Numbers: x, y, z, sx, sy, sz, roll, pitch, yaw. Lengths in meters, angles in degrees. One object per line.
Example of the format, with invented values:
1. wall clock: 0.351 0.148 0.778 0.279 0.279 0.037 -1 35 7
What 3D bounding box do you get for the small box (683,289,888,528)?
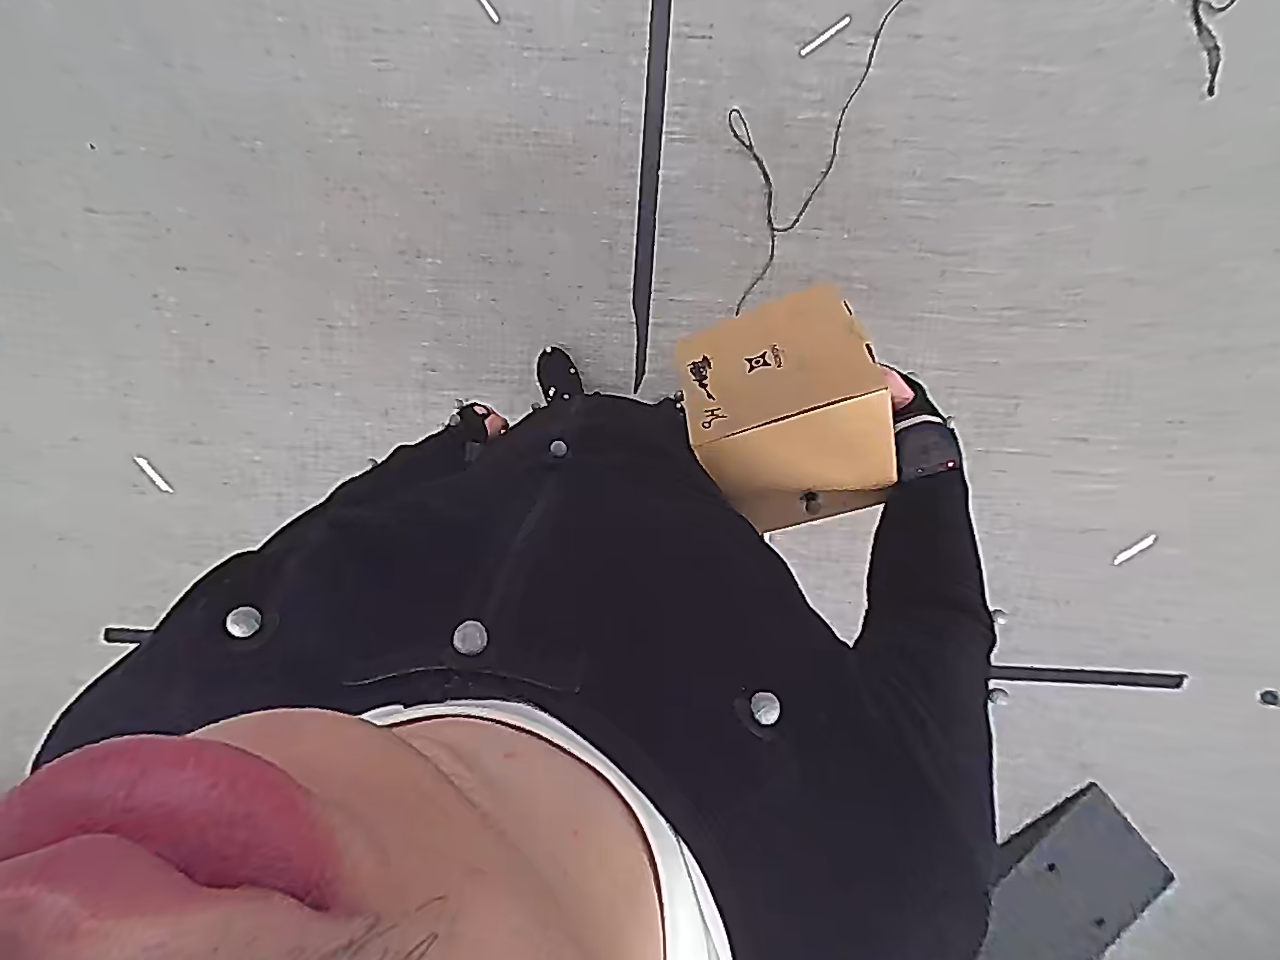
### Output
1. small box: 0.160 -0.070 0.596 0.179 0.168 0.176 -16 137 16
